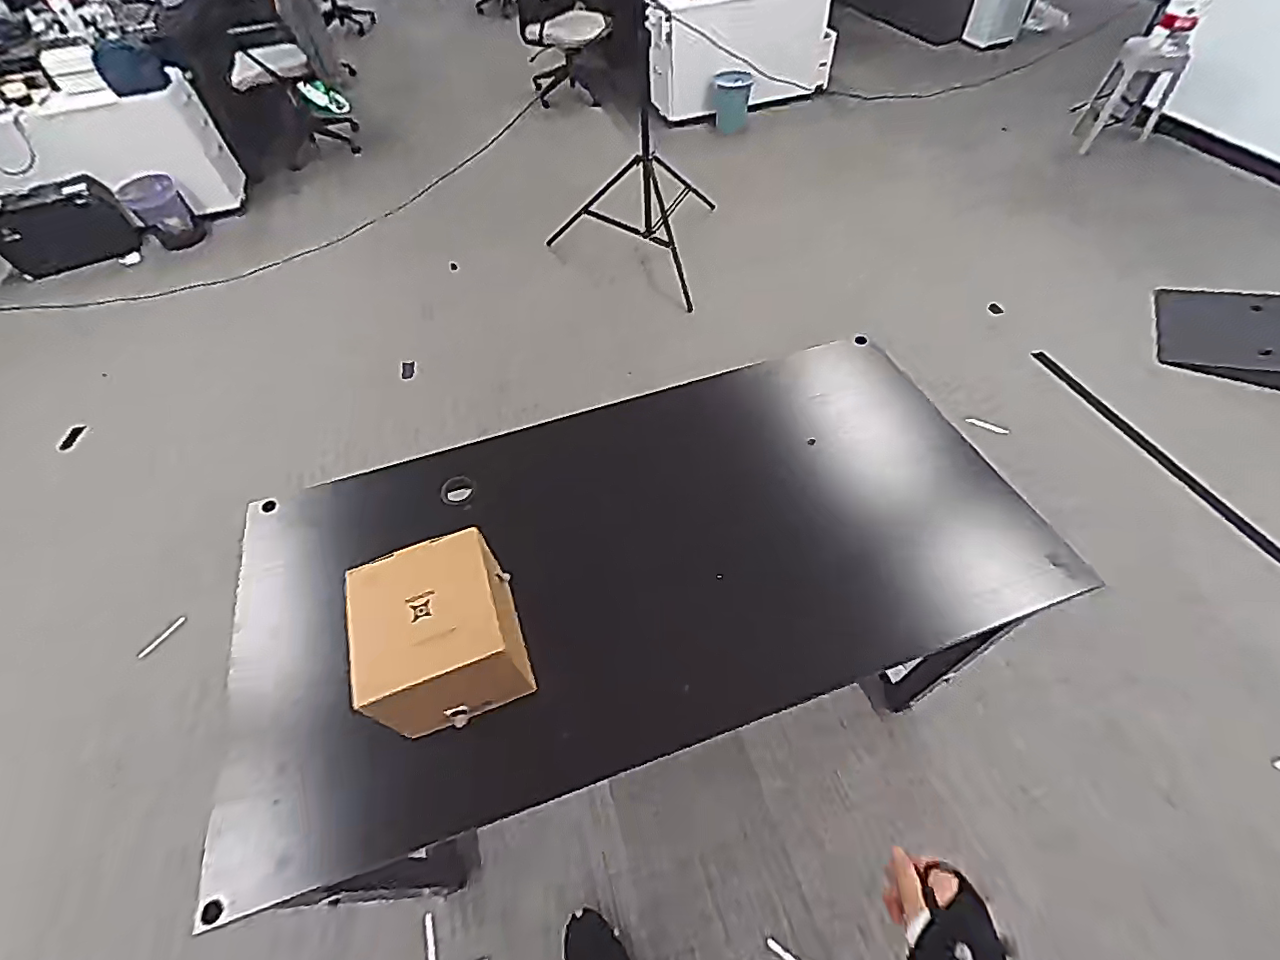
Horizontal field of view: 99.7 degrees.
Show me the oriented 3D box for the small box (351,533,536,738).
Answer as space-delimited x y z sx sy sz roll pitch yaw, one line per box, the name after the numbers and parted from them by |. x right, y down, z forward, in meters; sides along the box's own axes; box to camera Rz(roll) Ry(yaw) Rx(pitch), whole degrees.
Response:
-0.249 0.204 0.702 0.168 0.176 0.179 -20 55 -10 | small box
